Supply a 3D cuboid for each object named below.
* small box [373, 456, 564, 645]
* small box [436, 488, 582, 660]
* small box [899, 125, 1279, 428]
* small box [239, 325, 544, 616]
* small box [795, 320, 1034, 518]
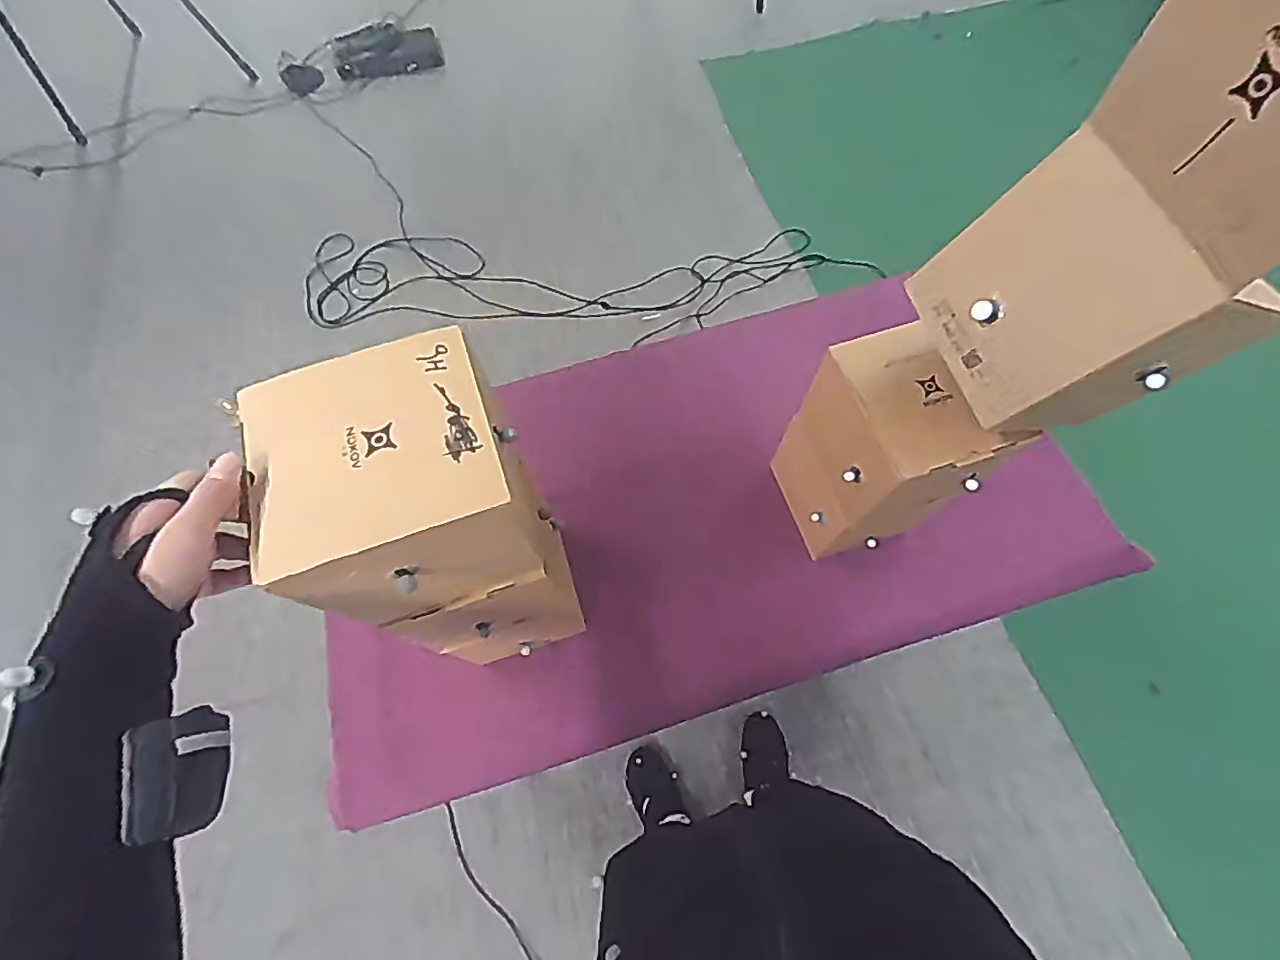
[{"bbox_3d":[-0.195,0.072,0.619,0.168,0.176,0.179,-18,67,-6],"label":"small box"},{"bbox_3d":[-0.189,0.139,0.766,0.168,0.176,0.179,-17,67,-5],"label":"small box"},{"bbox_3d":[0.370,-0.156,0.471,0.179,0.176,0.168,-4,66,-29],"label":"small box"},{"bbox_3d":[-0.201,0.004,0.469,0.179,0.176,0.168,-19,67,-6],"label":"small box"},{"bbox_3d":[0.310,-0.067,0.656,0.168,0.176,0.179,-17,67,-5],"label":"small box"}]
